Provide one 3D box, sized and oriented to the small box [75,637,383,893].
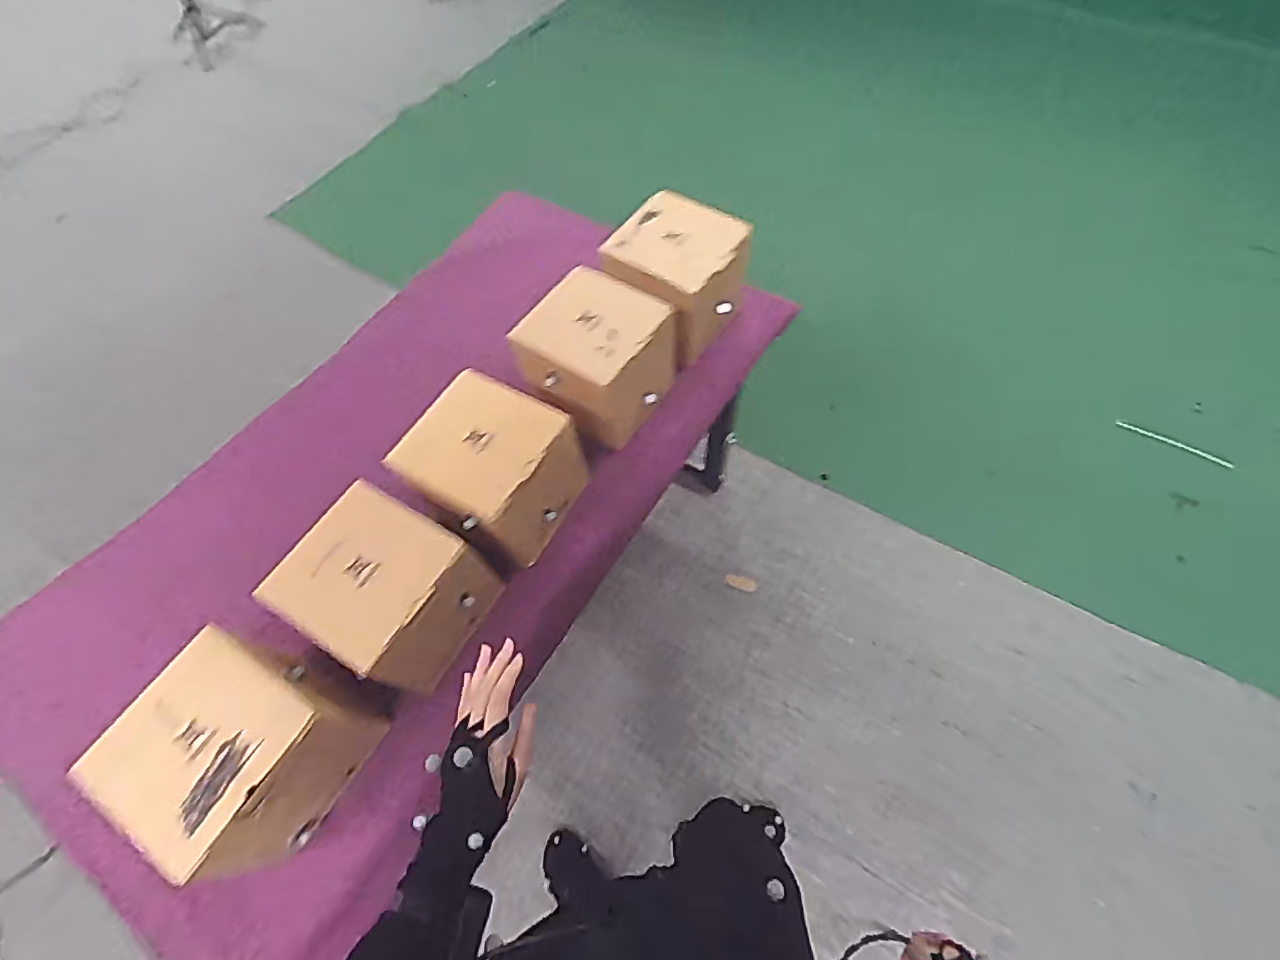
[{"bbox_3d":[-0.430,0.302,0.600,0.179,0.176,0.168,26,67,17],"label":"small box"}]
